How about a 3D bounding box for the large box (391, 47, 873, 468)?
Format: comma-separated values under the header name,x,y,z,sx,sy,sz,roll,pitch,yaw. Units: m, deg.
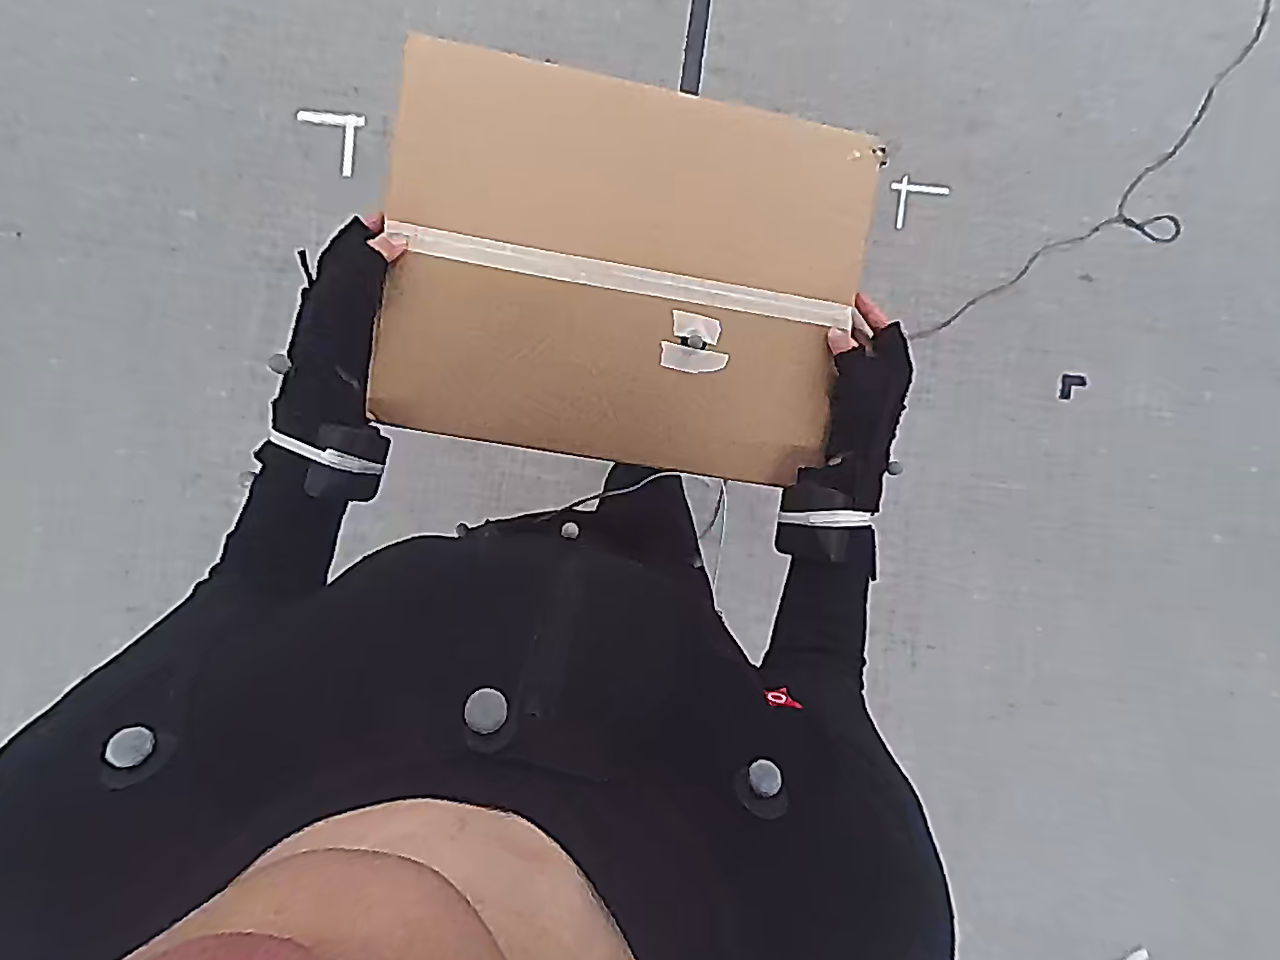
name,x,y,z,sx,sy,sz,roll,pitch,yaw
large box,-0.019,-0.202,0.629,0.408,0.320,0.320,9,96,-6
